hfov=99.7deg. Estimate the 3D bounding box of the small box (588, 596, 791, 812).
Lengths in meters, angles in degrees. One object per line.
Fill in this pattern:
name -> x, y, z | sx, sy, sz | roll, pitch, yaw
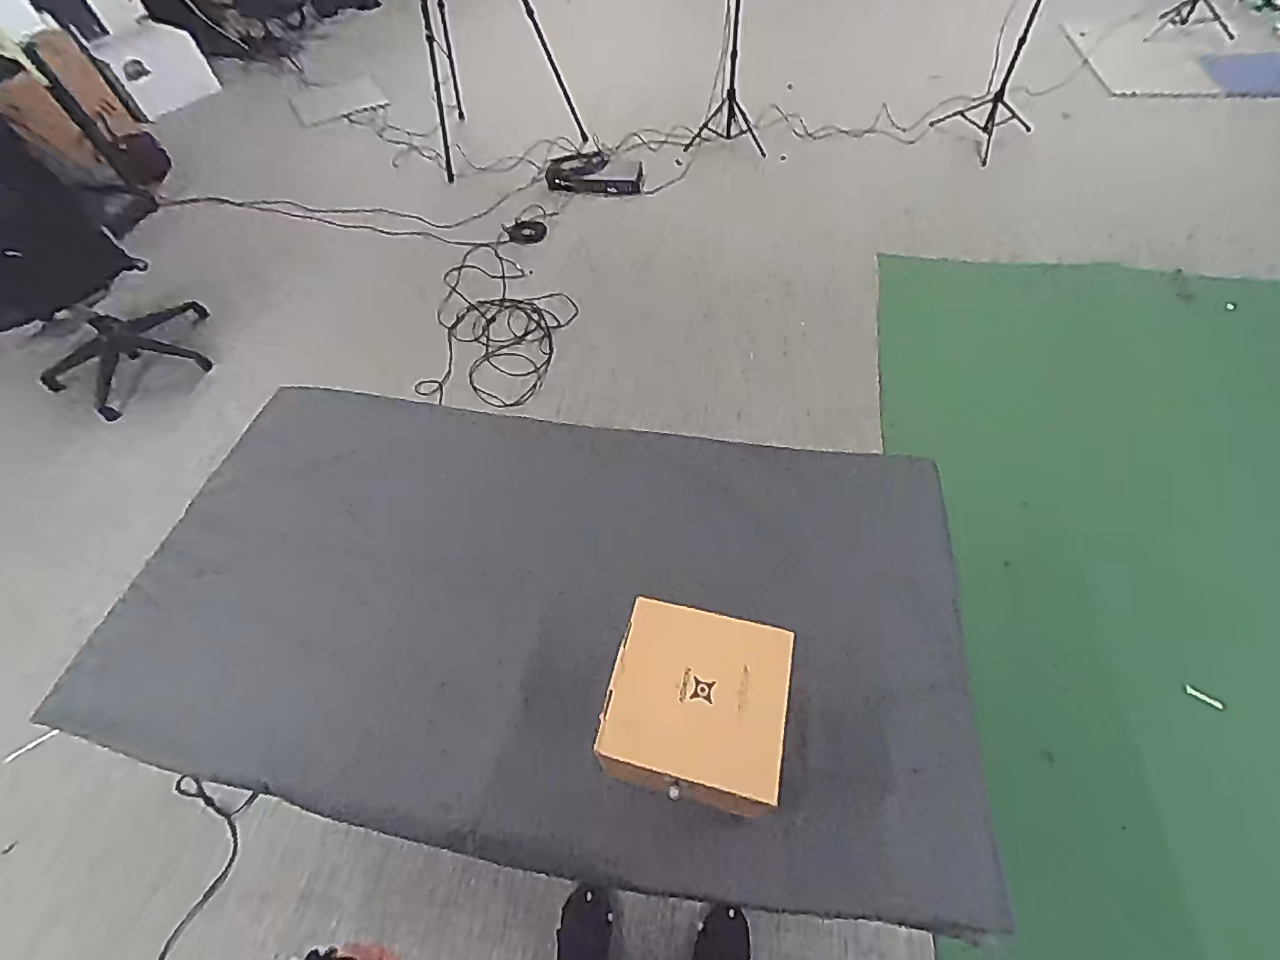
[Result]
small box -> 0.058, 0.252, 0.599 | 0.179, 0.176, 0.168 | 10, 56, 10
